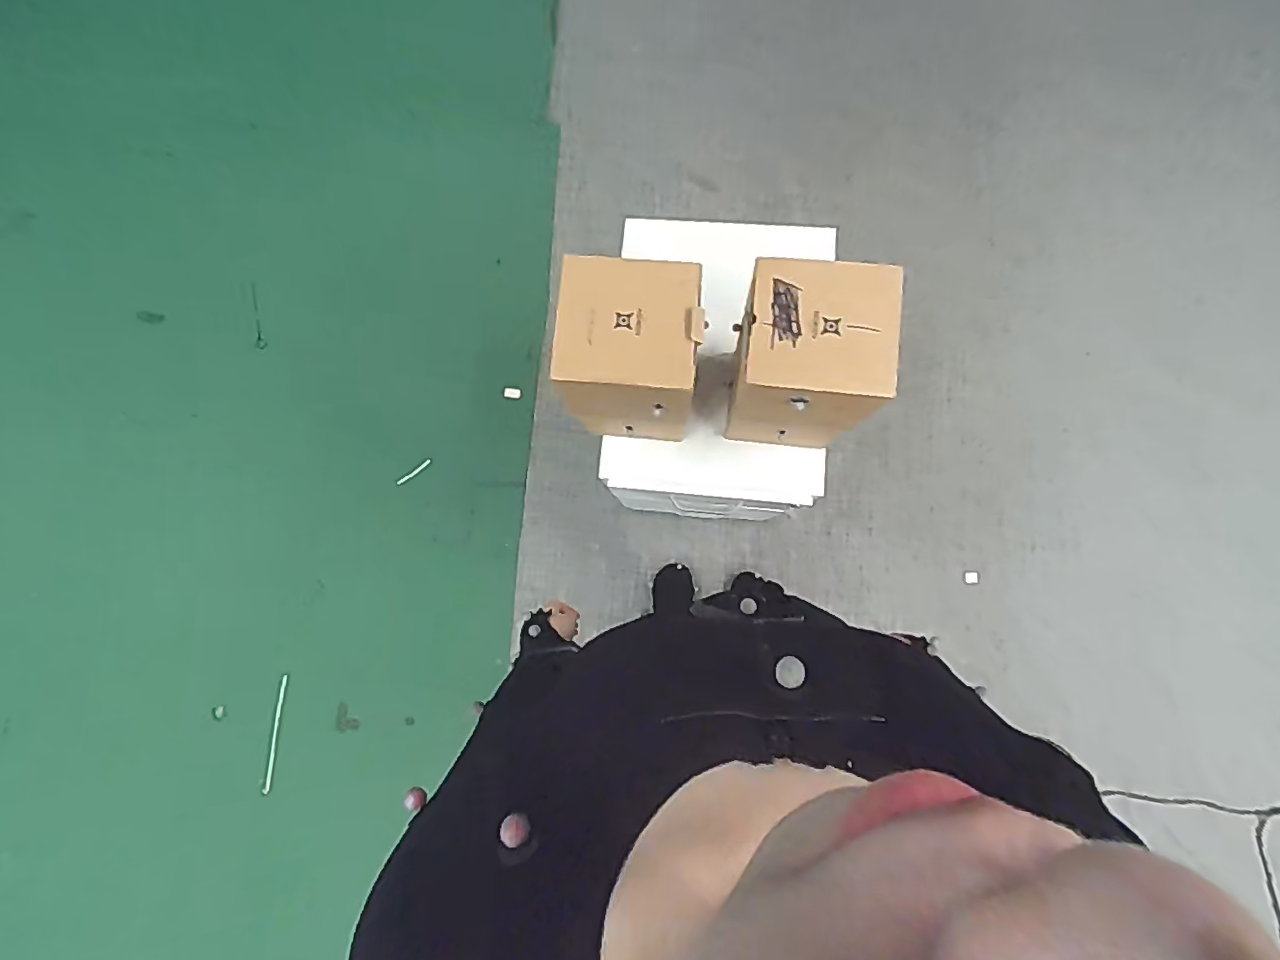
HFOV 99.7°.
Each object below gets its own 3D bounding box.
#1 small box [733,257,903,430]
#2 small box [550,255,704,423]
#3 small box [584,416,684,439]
[{"bbox_3d":[0.223,-0.170,0.717,0.179,0.176,0.168,7,82,5],"label":"small box"},{"bbox_3d":[-0.011,-0.179,0.733,0.179,0.176,0.168,4,81,4],"label":"small box"},{"bbox_3d":[-0.003,-0.171,0.896,0.168,0.176,0.179,5,82,2],"label":"small box"}]
